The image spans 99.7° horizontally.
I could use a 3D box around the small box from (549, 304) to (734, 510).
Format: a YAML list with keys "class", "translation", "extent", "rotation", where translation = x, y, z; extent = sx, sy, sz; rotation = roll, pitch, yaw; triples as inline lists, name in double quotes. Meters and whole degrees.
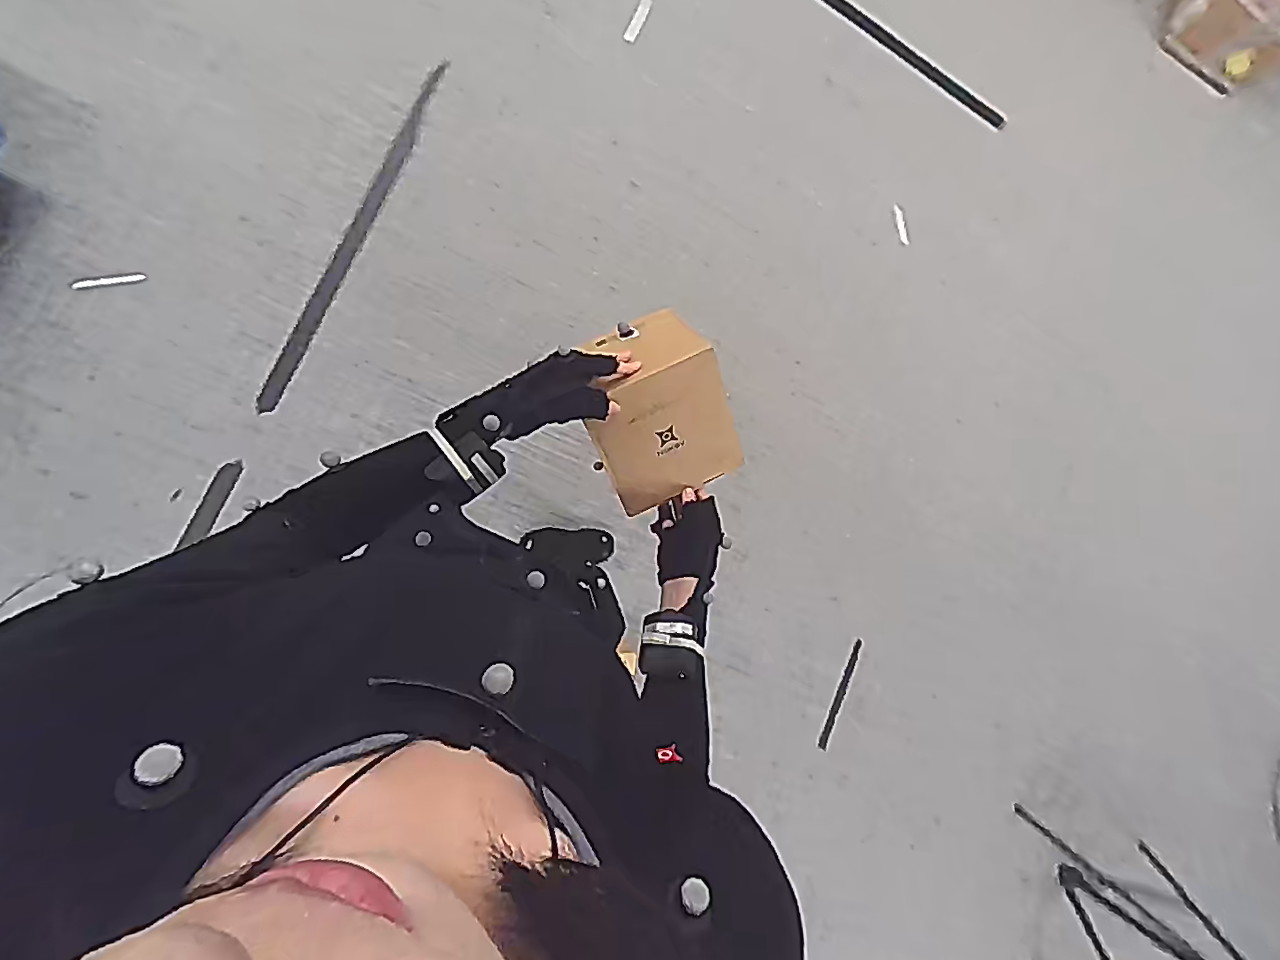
- class: "small box"
  translation: [-0.002, -0.099, 0.699]
  extent: [0.168, 0.176, 0.179]
  rotation: [-26, 126, -1]
